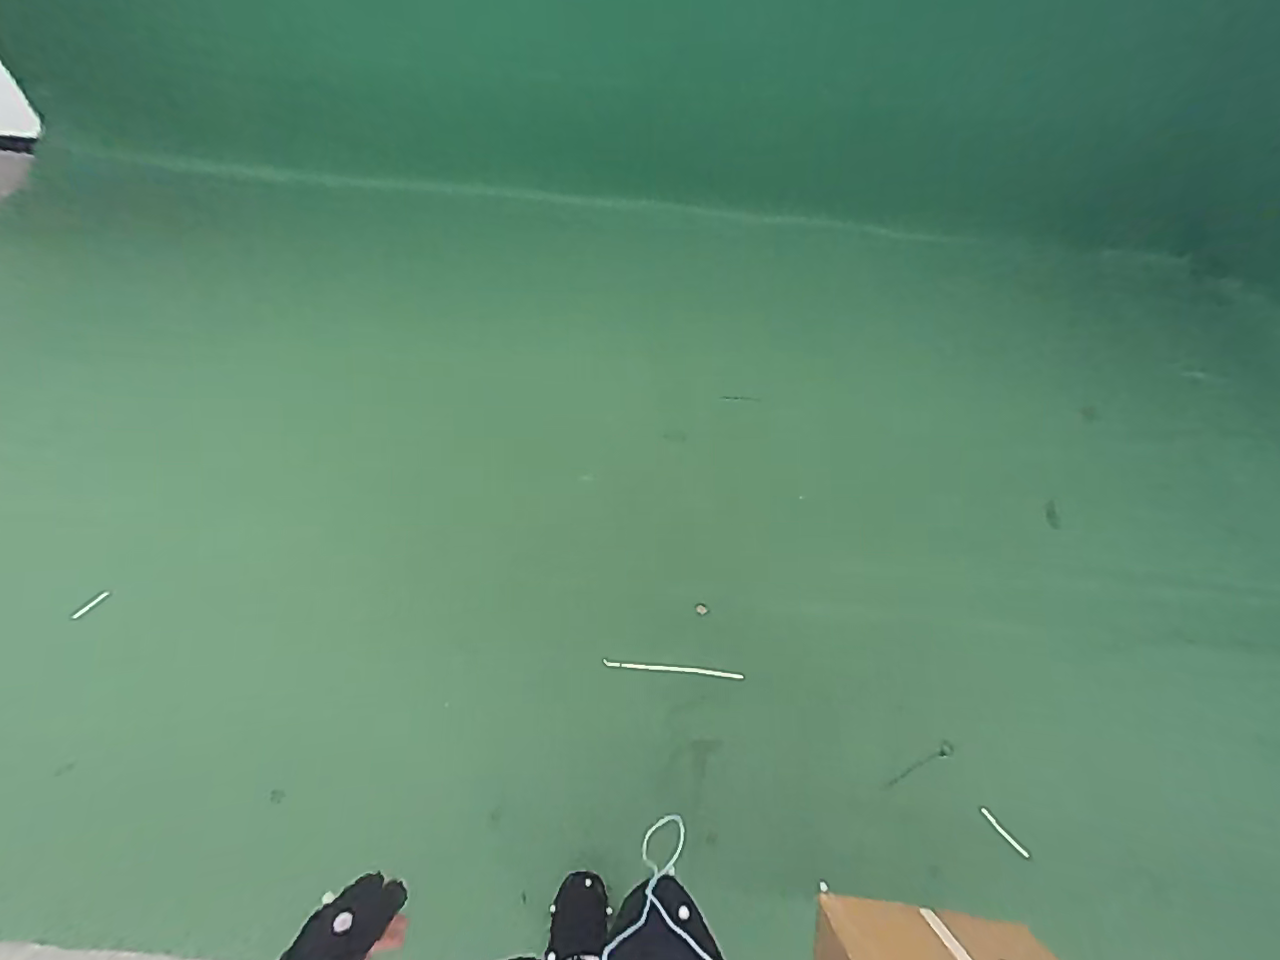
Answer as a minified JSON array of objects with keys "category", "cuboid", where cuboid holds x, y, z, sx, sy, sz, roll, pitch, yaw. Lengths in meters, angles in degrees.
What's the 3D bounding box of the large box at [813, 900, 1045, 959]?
[{"category":"large box","cuboid":[0.394,0.771,0.592,0.320,0.408,0.320,10,81,2]}]
